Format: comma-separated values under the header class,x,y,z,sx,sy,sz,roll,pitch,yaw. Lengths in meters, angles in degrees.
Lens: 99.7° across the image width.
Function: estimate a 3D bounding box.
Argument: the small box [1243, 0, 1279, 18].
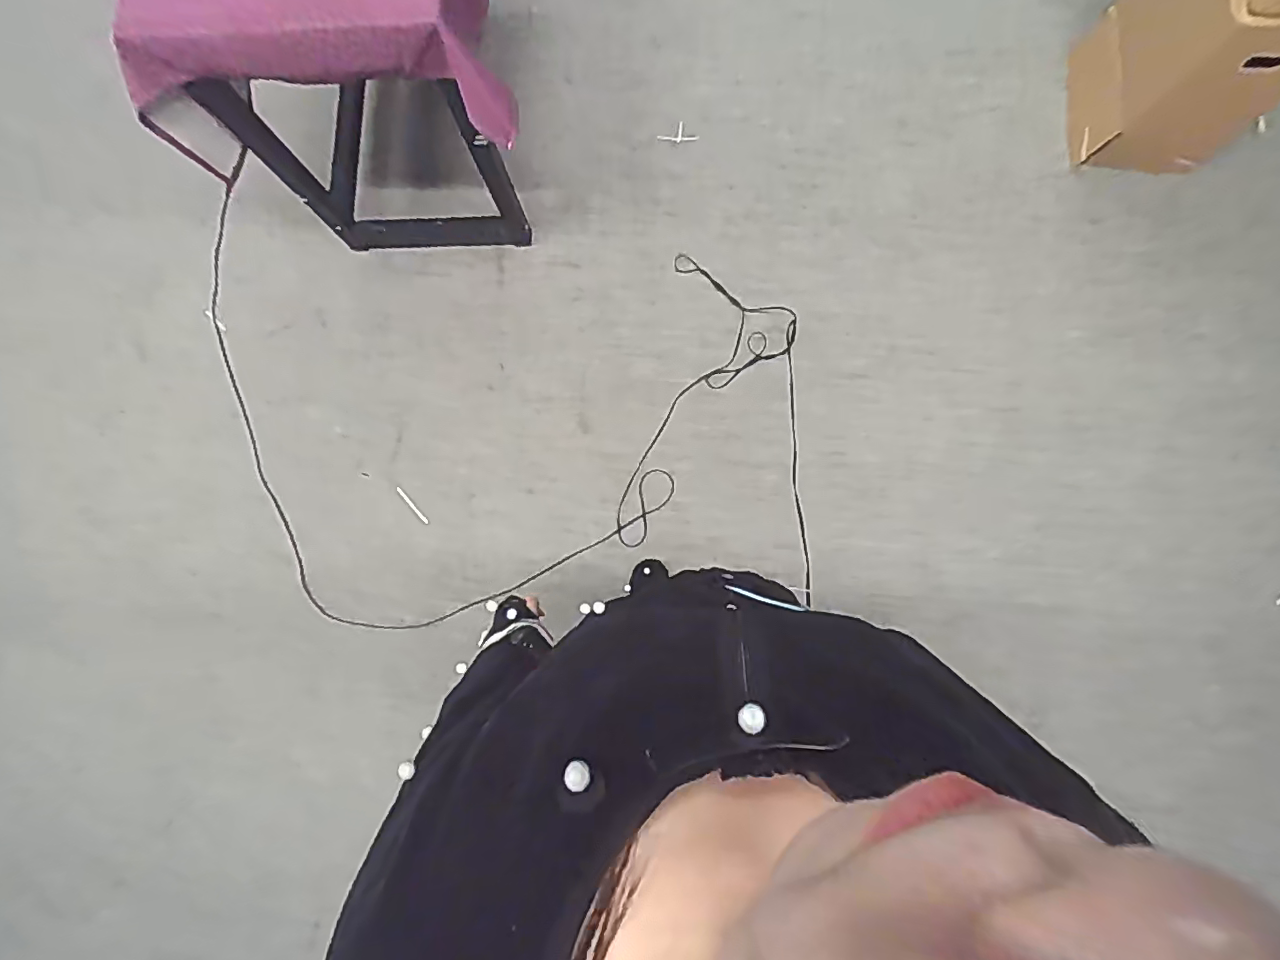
class,x,y,z,sx,sy,sz,roll,pitch,yaw
small box,1.408,-1.089,1.105,0.179,0.176,0.168,5,81,3
